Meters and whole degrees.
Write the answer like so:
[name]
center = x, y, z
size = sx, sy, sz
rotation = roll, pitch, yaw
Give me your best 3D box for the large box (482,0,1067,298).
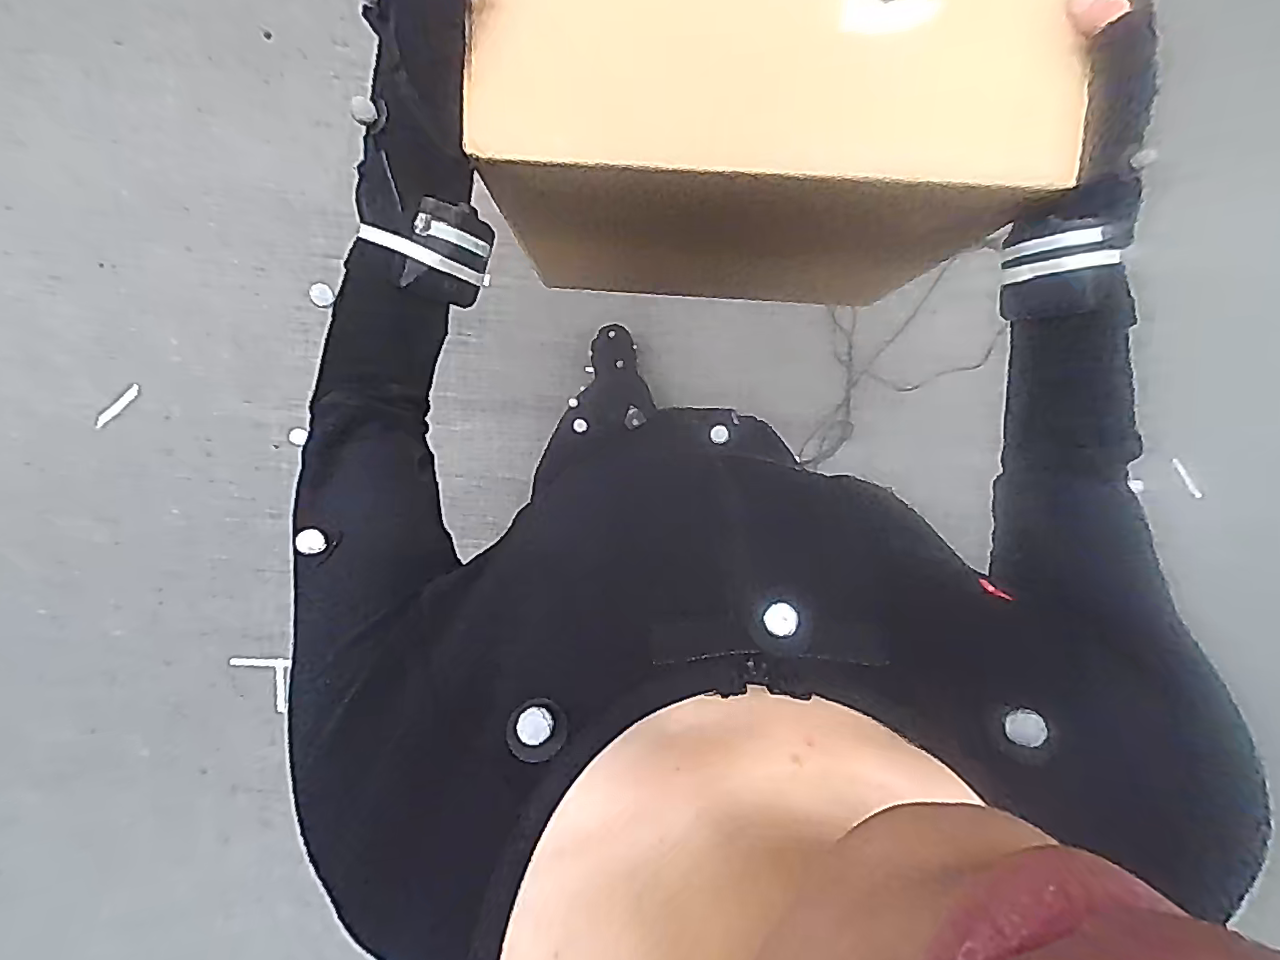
[large box]
center = 0.090, -0.374, 0.513
size = 0.408, 0.320, 0.320
rotation = 3, 94, -1
